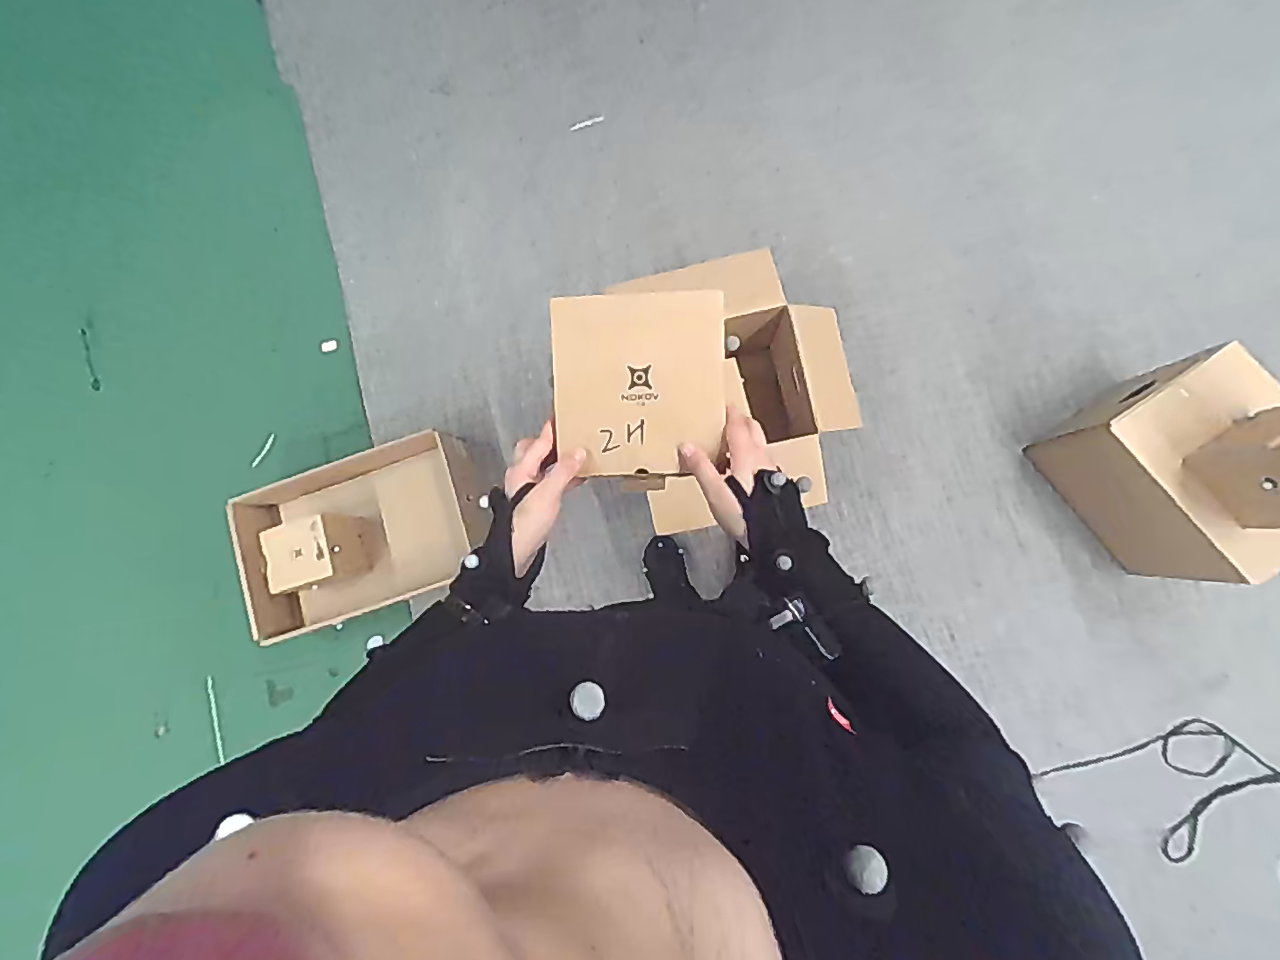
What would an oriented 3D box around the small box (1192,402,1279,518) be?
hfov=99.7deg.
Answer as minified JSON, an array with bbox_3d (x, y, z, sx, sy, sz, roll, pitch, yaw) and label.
[{"bbox_3d":[1.196,-0.042,0.987,0.168,0.176,0.179,-35,81,3],"label":"small box"}]

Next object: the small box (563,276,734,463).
[{"bbox_3d":[0.013,-0.112,0.599,0.168,0.176,0.179,-2,96,5],"label":"small box"}]

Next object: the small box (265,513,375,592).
[{"bbox_3d":[-0.853,0.195,1.450,0.179,0.176,0.168,-18,81,4],"label":"small box"}]
